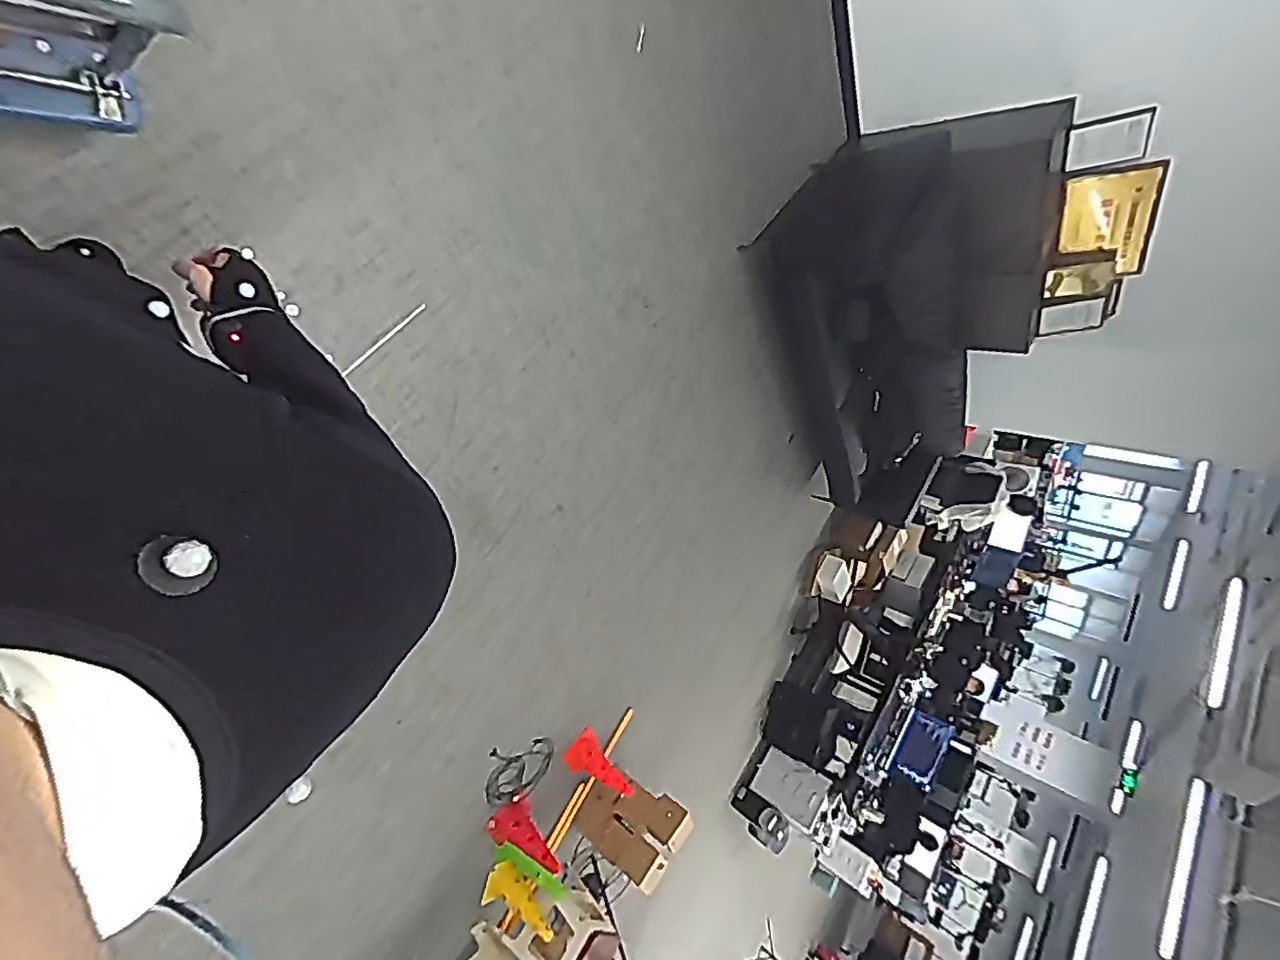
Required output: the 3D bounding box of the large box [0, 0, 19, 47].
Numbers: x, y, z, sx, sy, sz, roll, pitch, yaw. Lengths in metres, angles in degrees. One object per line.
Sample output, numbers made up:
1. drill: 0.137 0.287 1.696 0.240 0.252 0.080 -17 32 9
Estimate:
1. large box: -1.030 -0.828 0.632 0.320 0.320 0.408 -19 116 -44
